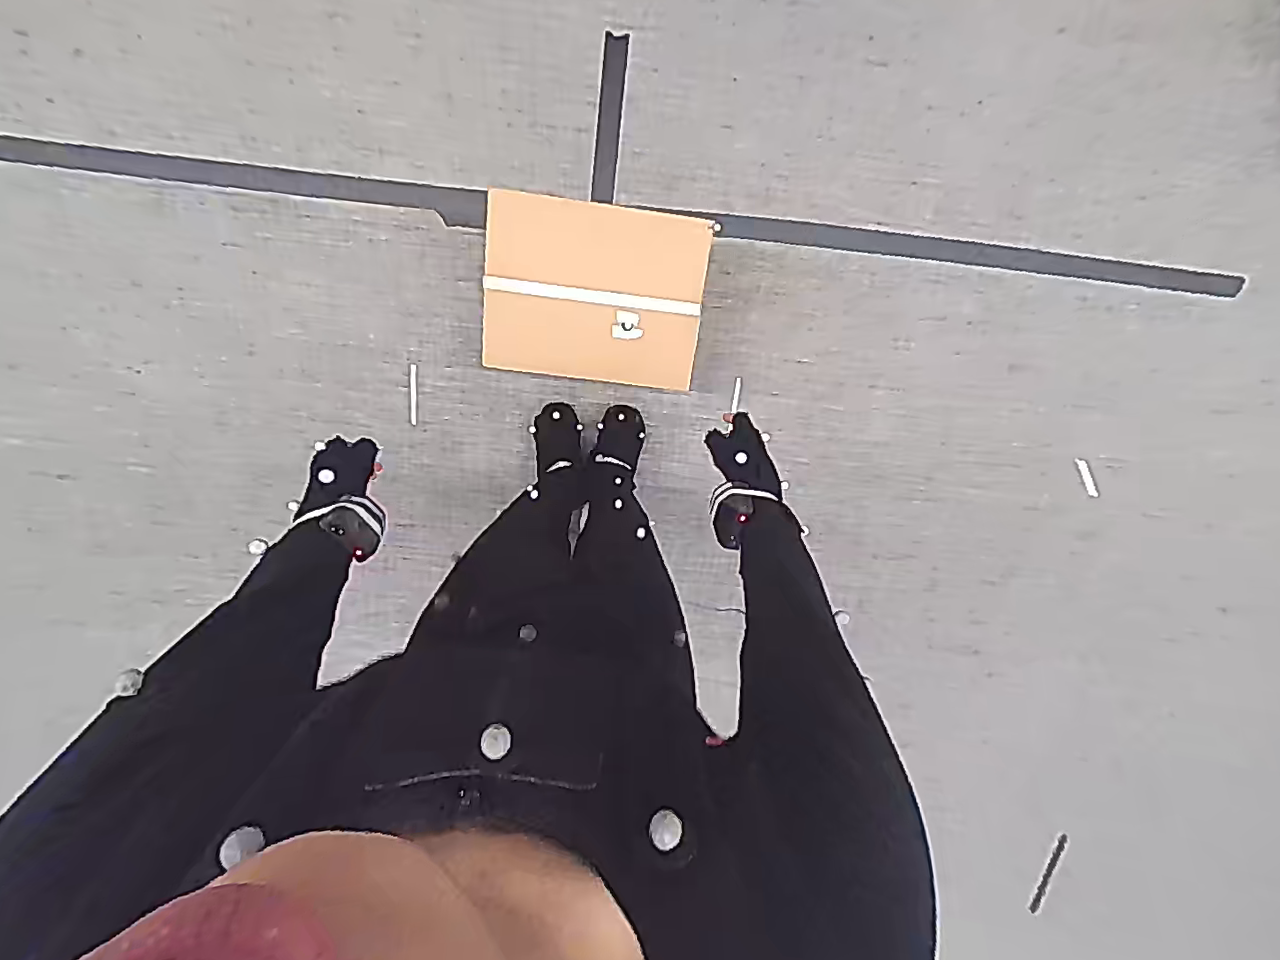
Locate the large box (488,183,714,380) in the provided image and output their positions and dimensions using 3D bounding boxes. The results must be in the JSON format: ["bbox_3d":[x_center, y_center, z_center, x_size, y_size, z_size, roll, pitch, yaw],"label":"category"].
[{"bbox_3d":[-0.091,-0.403,1.145,0.408,0.320,0.320,5,108,-6],"label":"large box"}]
